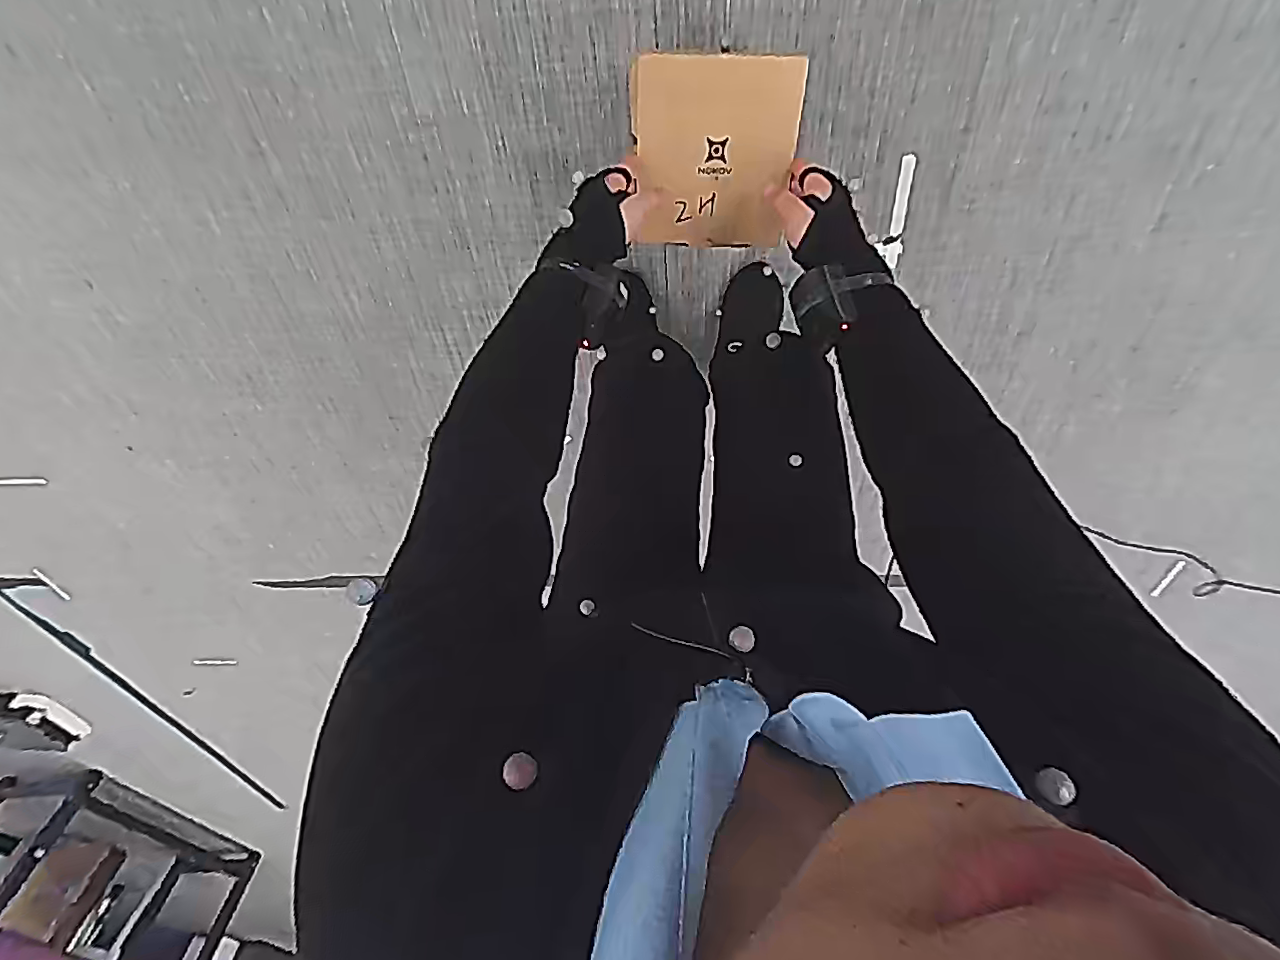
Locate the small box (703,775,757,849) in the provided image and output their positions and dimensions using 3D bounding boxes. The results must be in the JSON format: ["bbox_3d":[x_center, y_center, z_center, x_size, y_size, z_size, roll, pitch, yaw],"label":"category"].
[{"bbox_3d":[0.300,1.112,1.812,0.168,0.176,0.179,-6,128,8],"label":"small box"}]

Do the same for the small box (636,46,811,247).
[{"bbox_3d":[0.083,-0.386,0.623,0.168,0.176,0.179,3,129,2],"label":"small box"}]
